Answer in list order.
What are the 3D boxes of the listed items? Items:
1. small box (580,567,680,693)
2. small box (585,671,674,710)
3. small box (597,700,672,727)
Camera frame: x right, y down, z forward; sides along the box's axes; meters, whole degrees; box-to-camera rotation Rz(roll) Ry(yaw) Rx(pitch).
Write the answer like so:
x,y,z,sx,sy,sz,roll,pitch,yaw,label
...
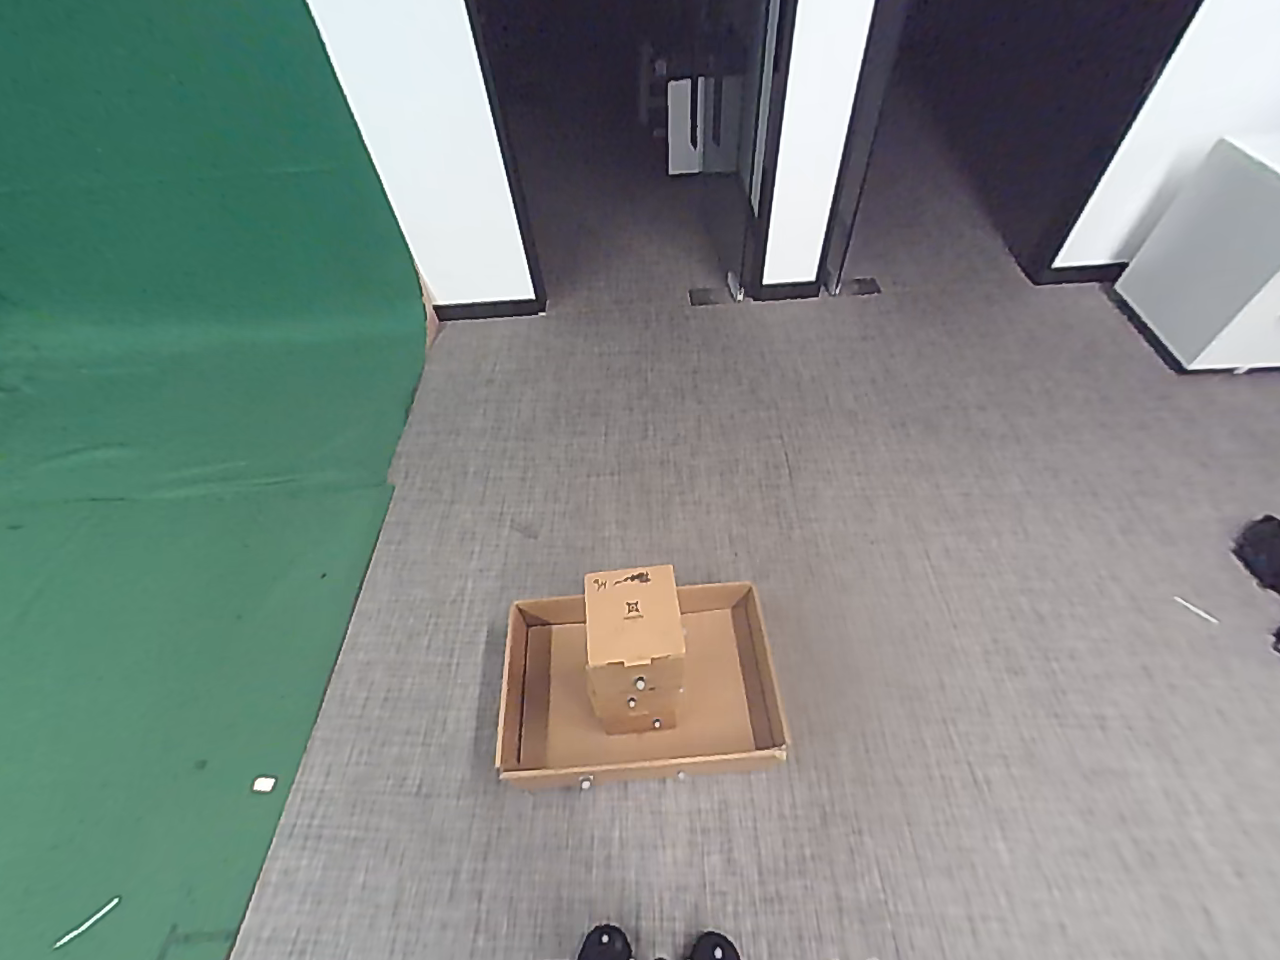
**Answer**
x,y,z,sx,sy,sz,roll,pitch,yaw,label
-0.016,0.291,1.029,0.168,0.176,0.179,-8,51,-2,small box
-0.019,0.386,1.160,0.179,0.176,0.168,-4,51,1,small box
-0.013,0.473,1.278,0.168,0.176,0.179,-5,50,-1,small box
